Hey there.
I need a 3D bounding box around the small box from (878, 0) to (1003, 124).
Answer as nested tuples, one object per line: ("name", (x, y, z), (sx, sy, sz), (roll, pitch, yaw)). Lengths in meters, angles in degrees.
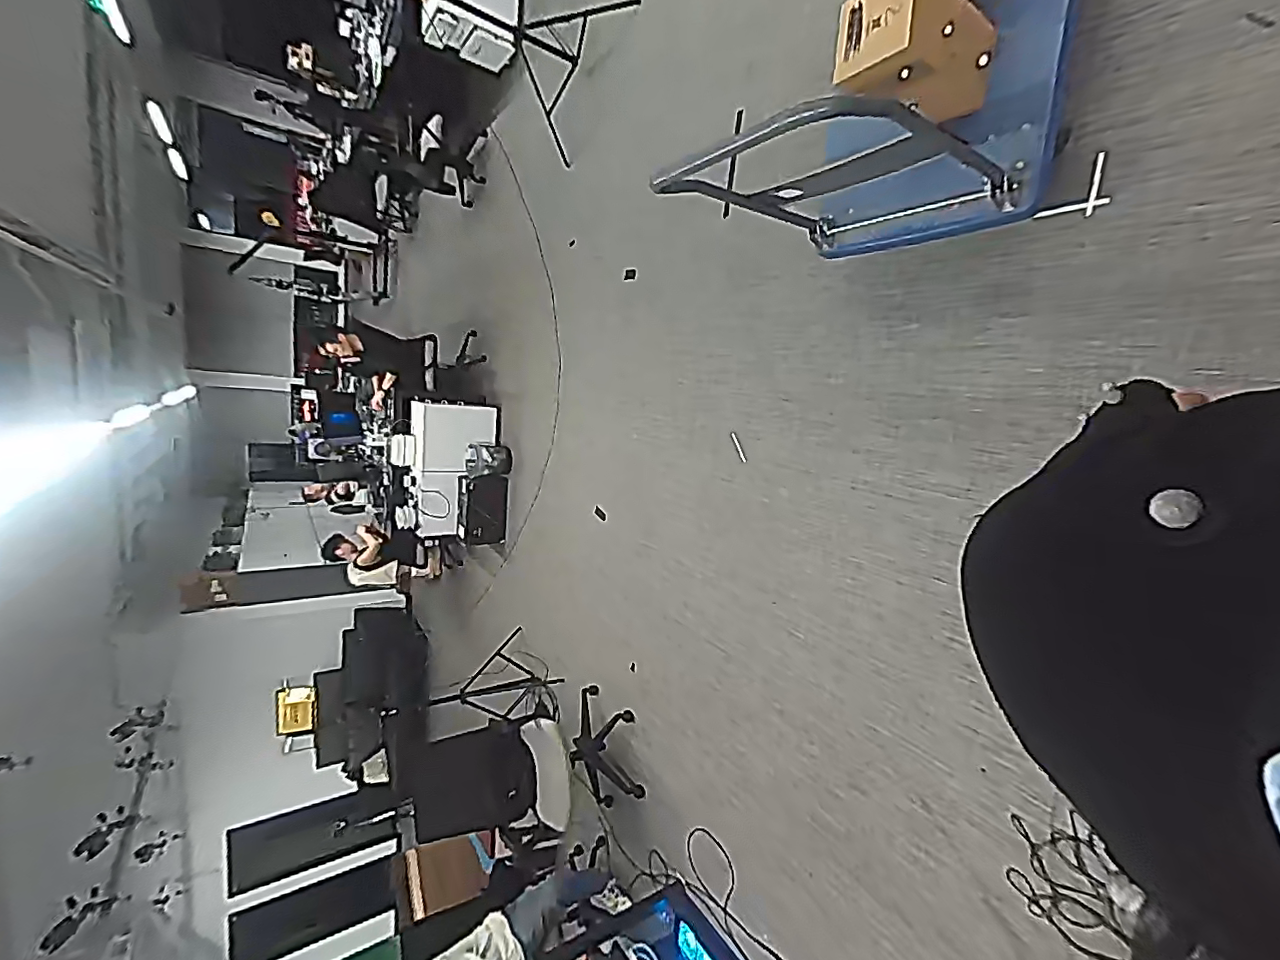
("small box", (0.687, -0.953, 1.242), (0.179, 0.176, 0.168), (22, 110, 53))
